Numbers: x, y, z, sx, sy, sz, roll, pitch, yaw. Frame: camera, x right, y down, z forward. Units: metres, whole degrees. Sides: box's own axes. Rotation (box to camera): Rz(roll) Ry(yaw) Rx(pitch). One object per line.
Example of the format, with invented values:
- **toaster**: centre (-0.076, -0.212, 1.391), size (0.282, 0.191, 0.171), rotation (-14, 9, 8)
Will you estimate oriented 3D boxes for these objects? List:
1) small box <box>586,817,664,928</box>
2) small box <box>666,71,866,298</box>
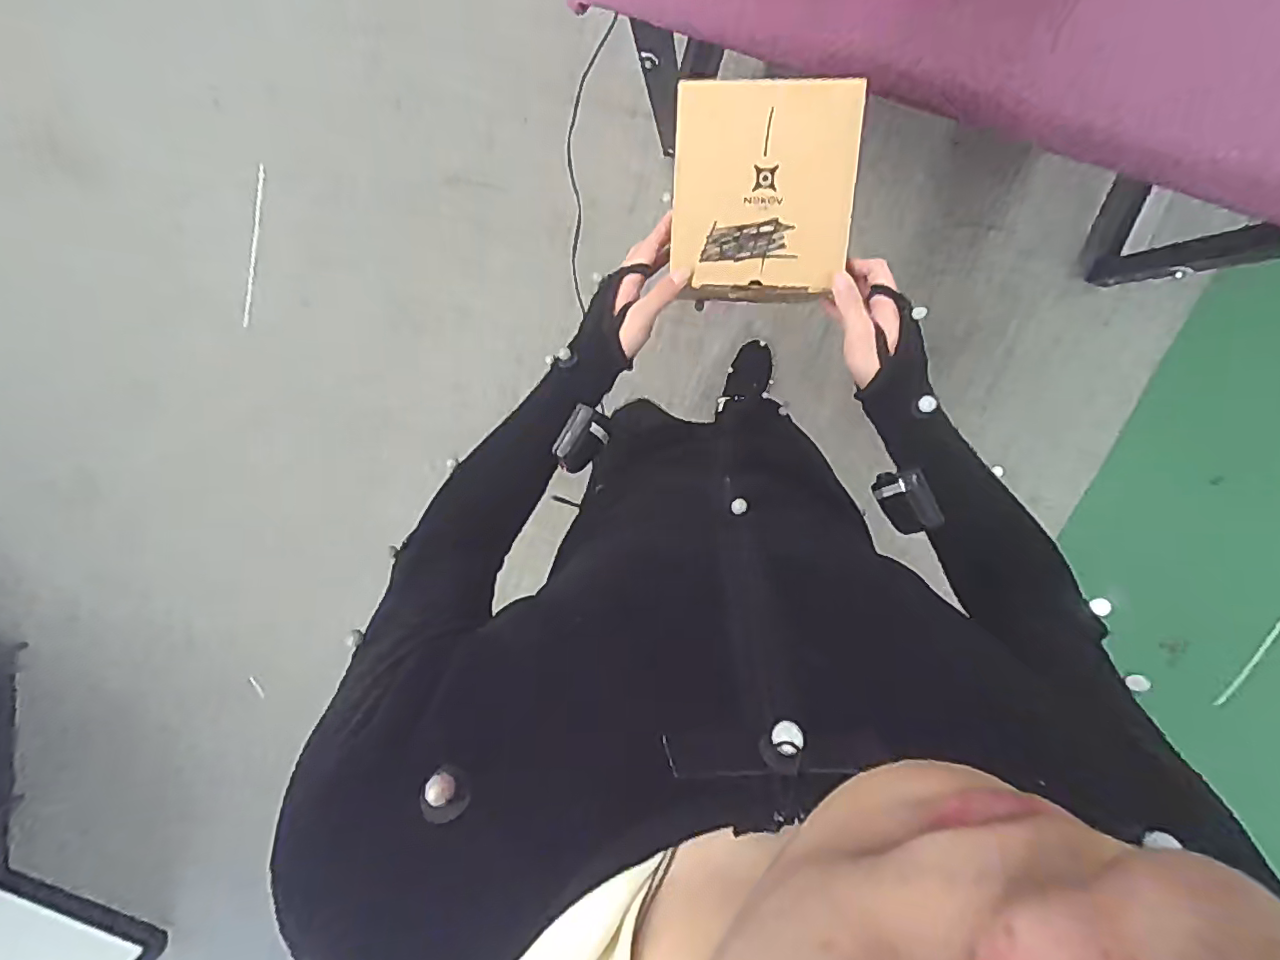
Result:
- **small box**: centre (-0.036, 1.155, 1.601), size (0.168, 0.176, 0.179), rotation (24, 106, 2)
- **small box**: centre (0.118, -0.288, 0.564), size (0.168, 0.176, 0.179), rotation (3, 103, 5)
